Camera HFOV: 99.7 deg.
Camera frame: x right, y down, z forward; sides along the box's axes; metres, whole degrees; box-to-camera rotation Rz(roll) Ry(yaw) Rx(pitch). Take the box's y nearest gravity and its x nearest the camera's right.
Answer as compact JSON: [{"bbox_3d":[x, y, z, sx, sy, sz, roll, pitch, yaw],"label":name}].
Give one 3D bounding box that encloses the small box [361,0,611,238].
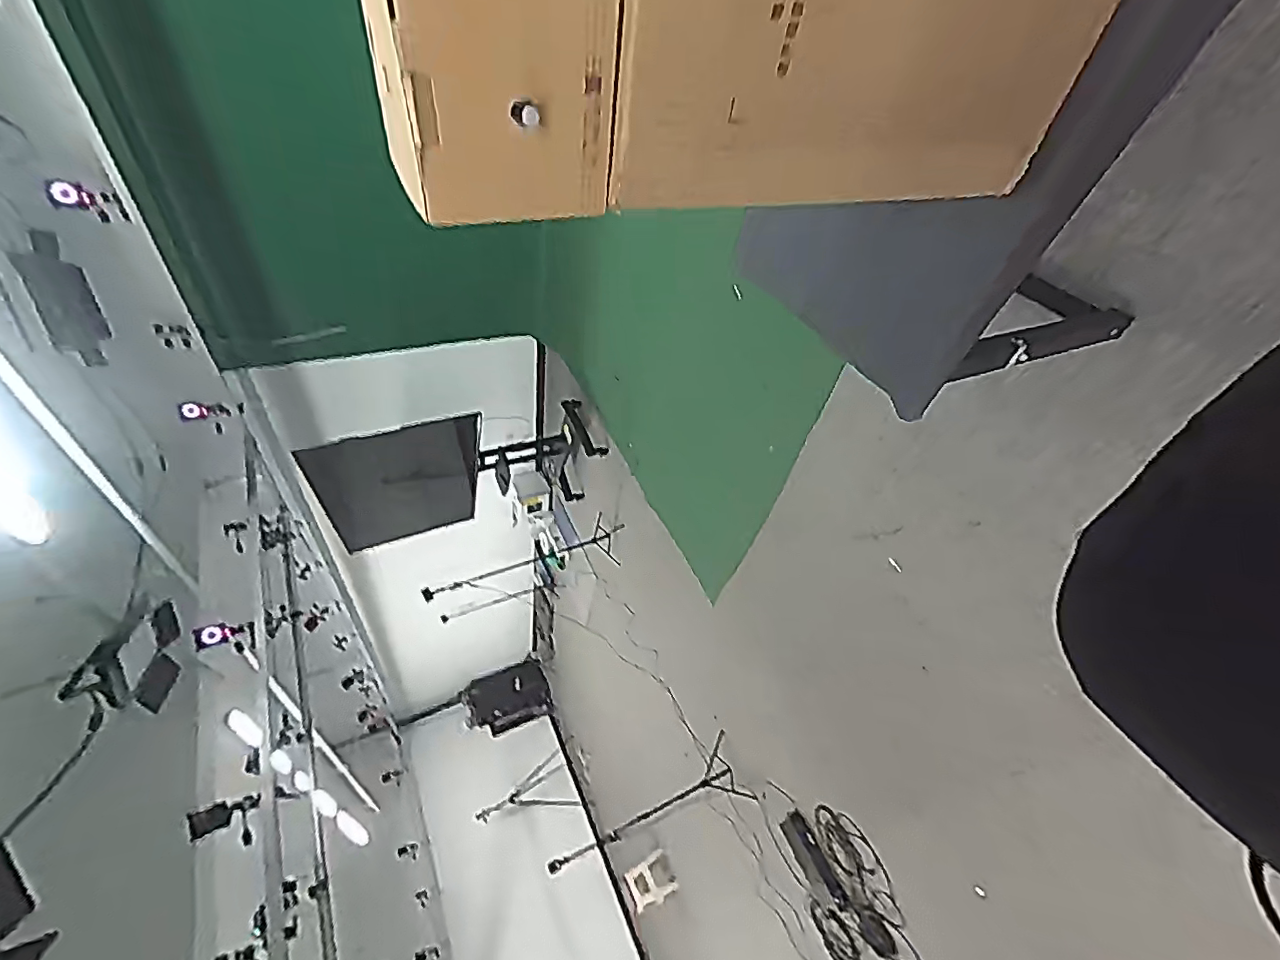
[{"bbox_3d":[-0.136,-0.346,0.496,0.179,0.176,0.168,56,151,36],"label":"small box"}]
